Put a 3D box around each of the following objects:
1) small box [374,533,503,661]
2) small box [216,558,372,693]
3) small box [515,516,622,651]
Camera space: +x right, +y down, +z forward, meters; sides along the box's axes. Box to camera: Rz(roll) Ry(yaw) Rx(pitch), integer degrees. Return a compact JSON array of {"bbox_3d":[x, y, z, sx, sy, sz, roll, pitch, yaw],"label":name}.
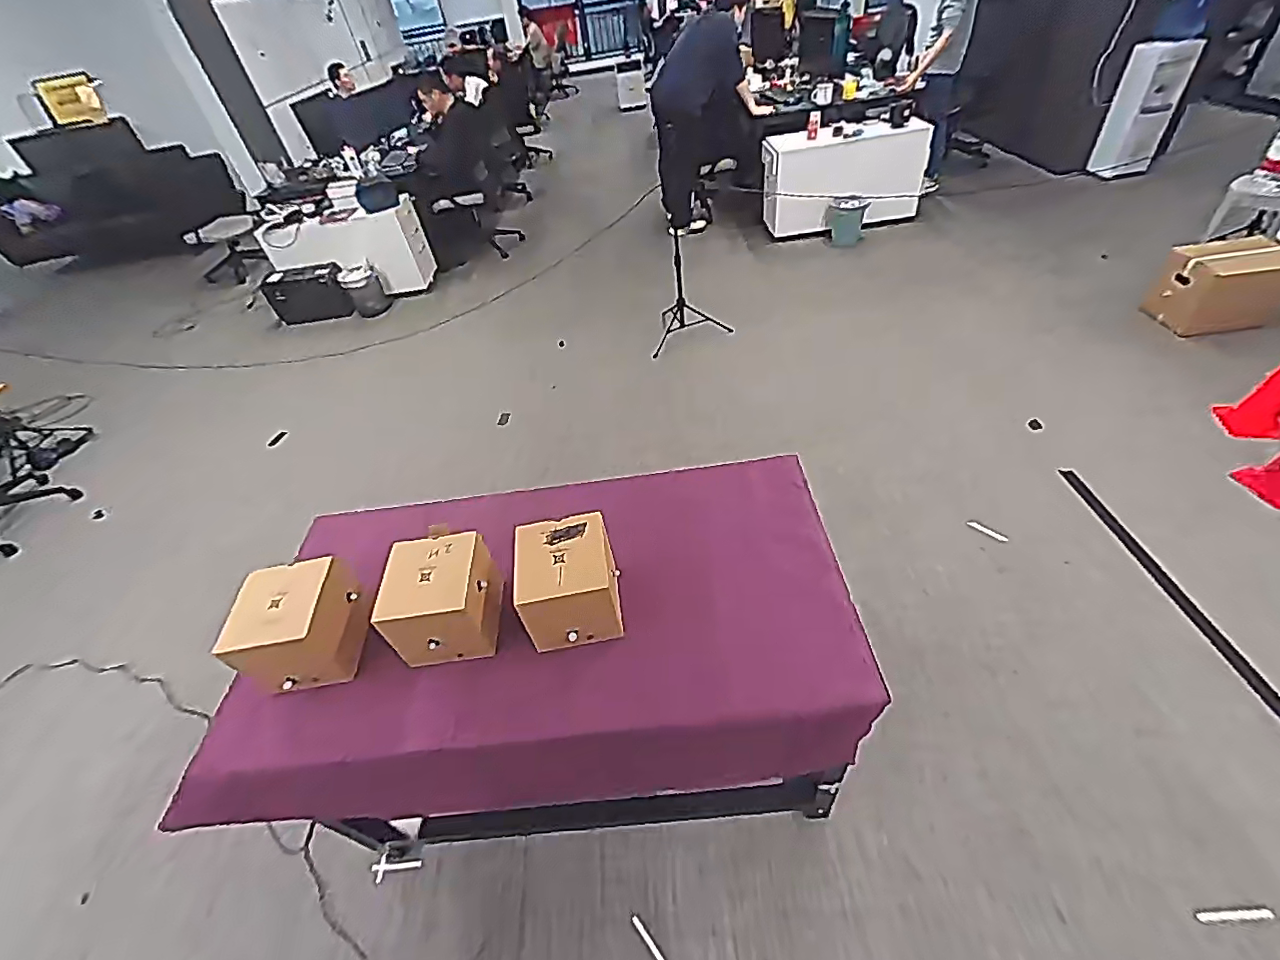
[{"bbox_3d":[-0.371,0.230,1.034,0.168,0.176,0.179,-8,43,2],"label":"small box"},{"bbox_3d":[-0.642,0.278,1.033,0.168,0.176,0.179,-10,43,1],"label":"small box"},{"bbox_3d":[-0.132,0.196,1.027,0.168,0.176,0.179,-10,44,0],"label":"small box"}]
